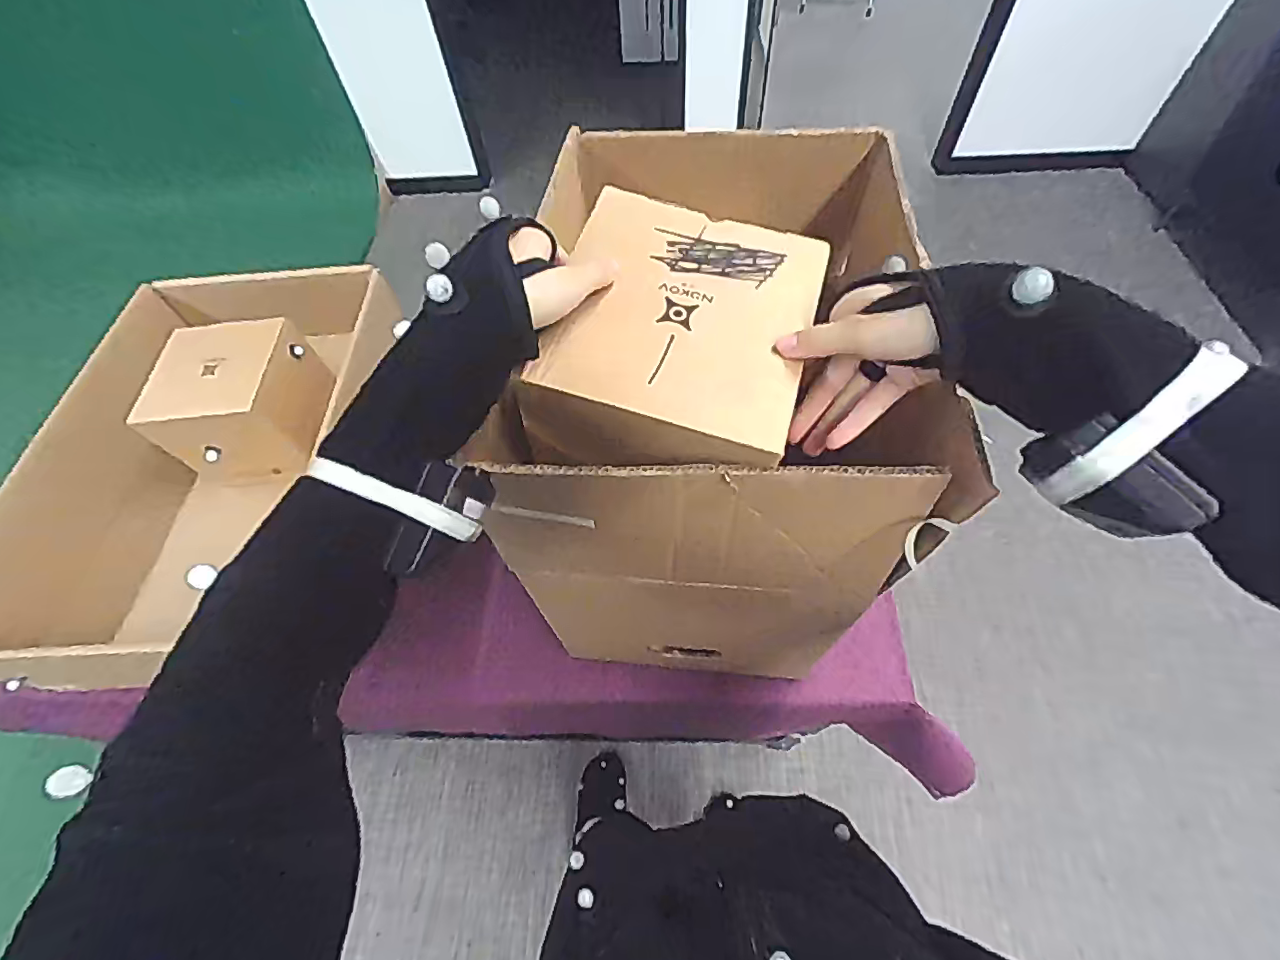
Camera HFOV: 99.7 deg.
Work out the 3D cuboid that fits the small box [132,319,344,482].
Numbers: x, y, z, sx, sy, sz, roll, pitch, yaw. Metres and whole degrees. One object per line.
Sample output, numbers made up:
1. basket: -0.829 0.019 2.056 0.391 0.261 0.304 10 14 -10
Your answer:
1. small box: -0.575 -0.108 0.805 0.168 0.176 0.179 -6 59 2
